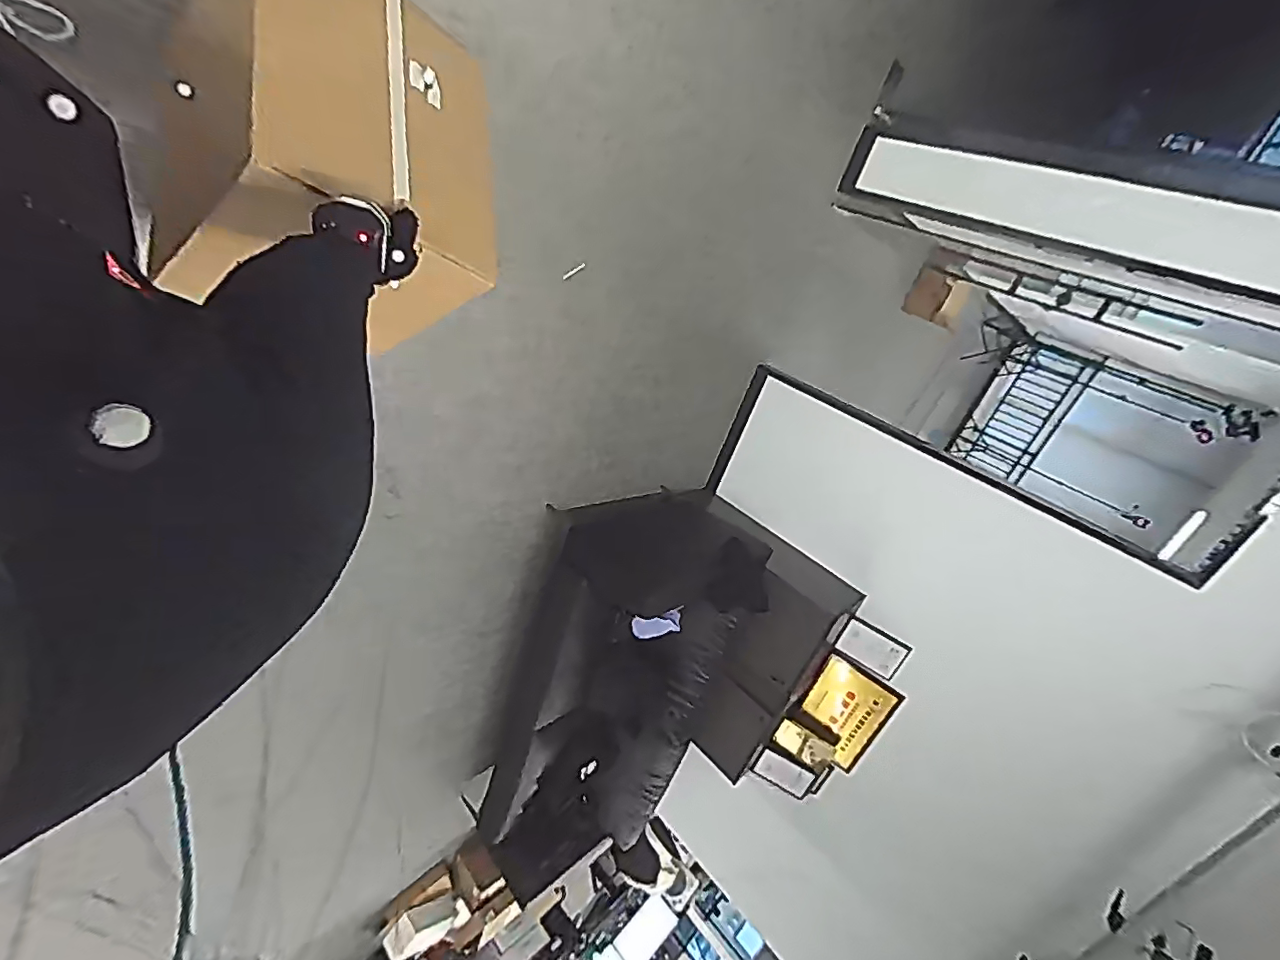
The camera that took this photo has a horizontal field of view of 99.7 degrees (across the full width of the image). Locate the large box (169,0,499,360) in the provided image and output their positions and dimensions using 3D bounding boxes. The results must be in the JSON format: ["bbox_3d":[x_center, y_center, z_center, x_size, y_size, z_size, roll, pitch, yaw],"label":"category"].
[{"bbox_3d":[-0.445,-0.445,0.792,0.320,0.408,0.320,-17,165,31],"label":"large box"}]
